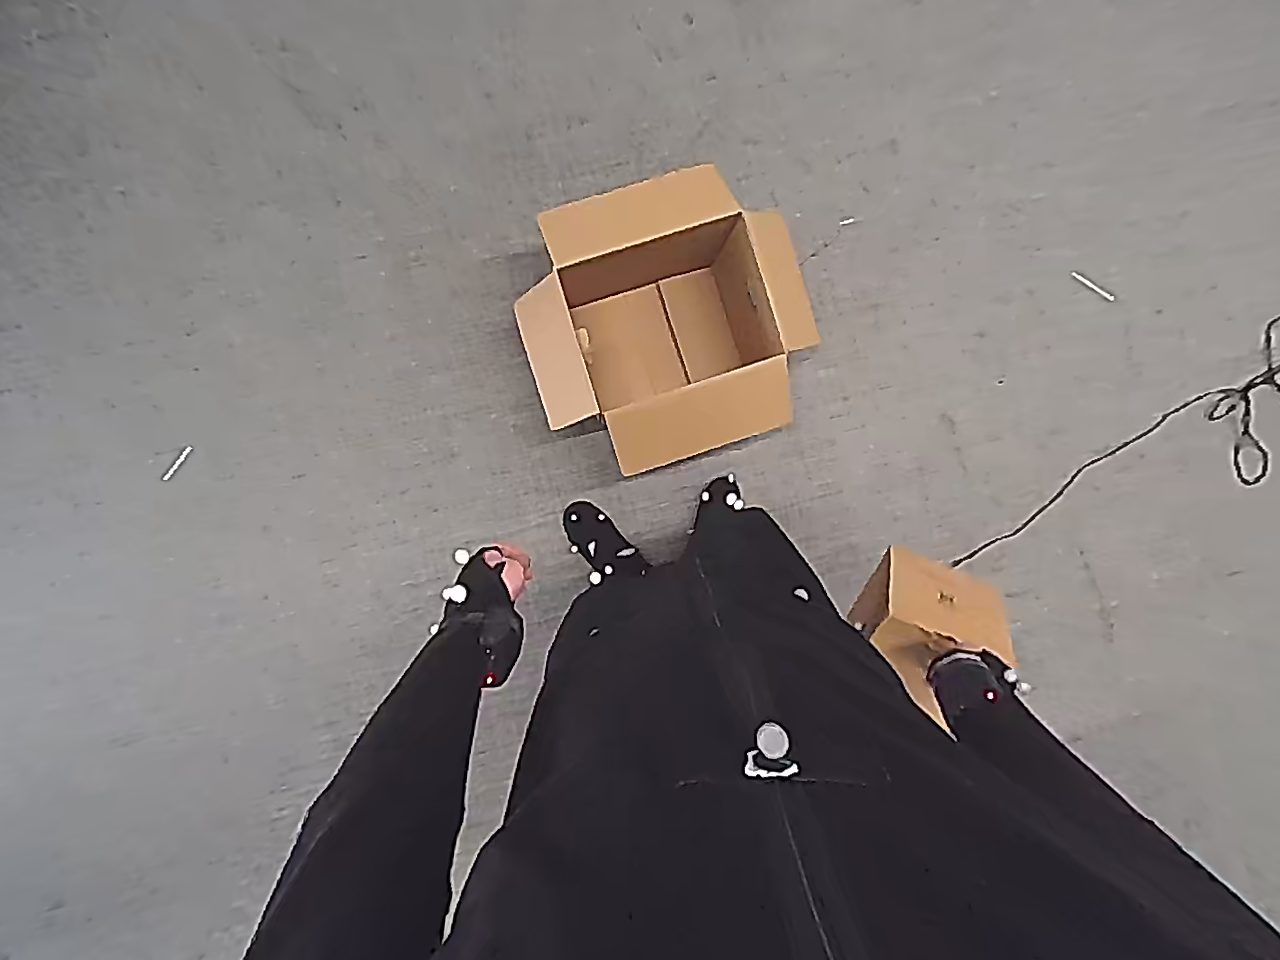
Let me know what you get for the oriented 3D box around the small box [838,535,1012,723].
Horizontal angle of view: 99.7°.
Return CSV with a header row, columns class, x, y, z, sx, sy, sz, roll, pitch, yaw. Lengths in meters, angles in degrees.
class,x,y,z,sx,sy,sz,roll,pitch,yaw
small box,0.411,0.221,0.806,0.168,0.179,0.176,24,125,11
